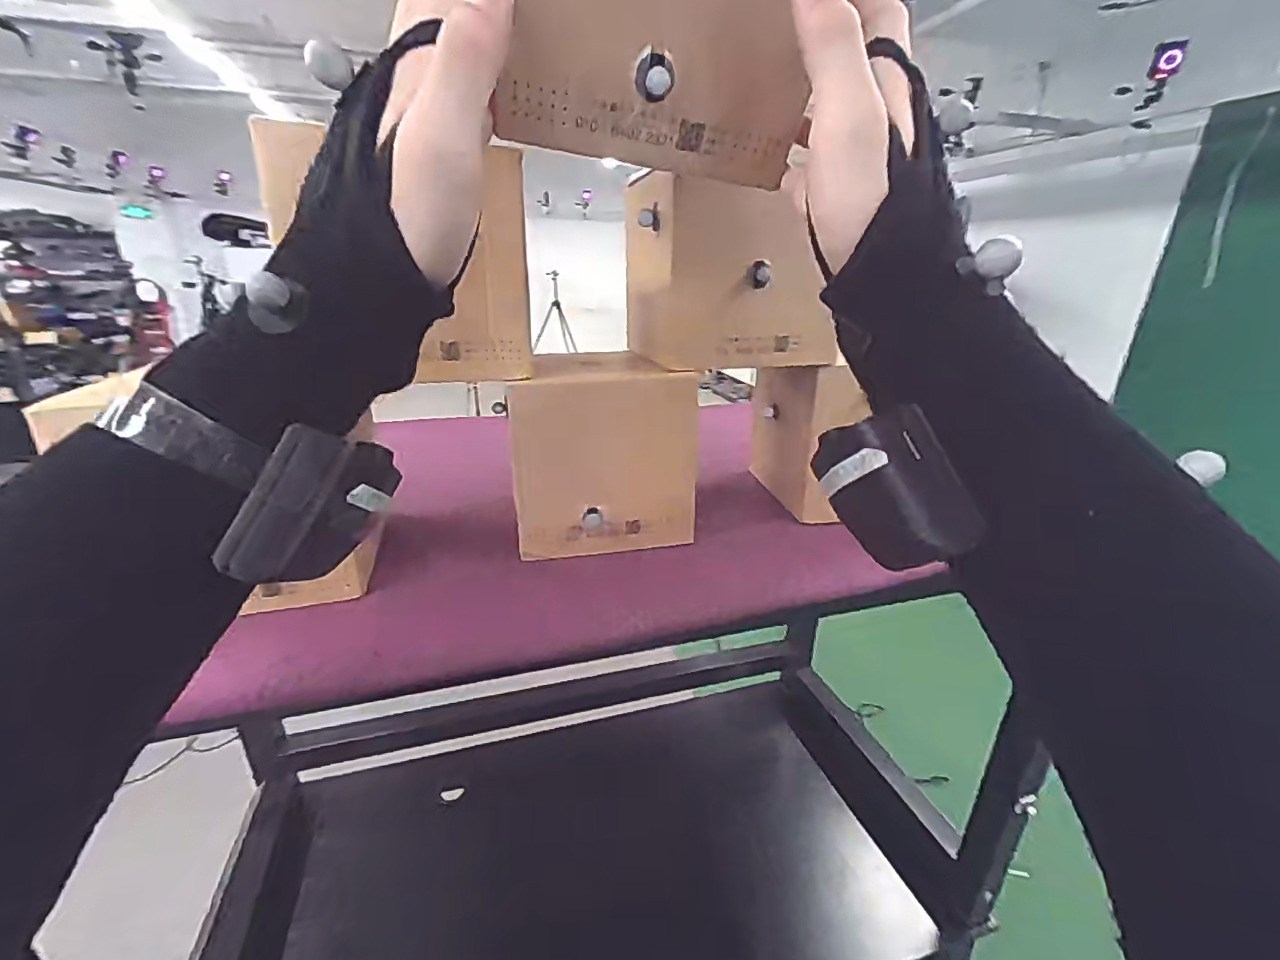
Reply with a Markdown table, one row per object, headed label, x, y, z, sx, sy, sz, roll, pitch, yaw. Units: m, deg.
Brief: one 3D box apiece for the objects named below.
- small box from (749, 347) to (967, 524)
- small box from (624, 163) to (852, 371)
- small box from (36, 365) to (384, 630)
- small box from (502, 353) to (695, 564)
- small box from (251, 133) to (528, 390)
| label | x | y | z | sx | sy | sz | roll | pitch | yaw |
| --- | --- | --- | --- | --- | --- | --- | --- | --- | --- |
| small box | 0.233 | -0.059 | 0.628 | 0.168 | 0.176 | 0.179 | -3 | 20 | -7 |
| small box | 0.082 | -0.202 | 0.537 | 0.168 | 0.176 | 0.179 | -4 | 21 | -13 |
| small box | -0.323 | -0.001 | 0.457 | 0.168 | 0.176 | 0.179 | -6 | 22 | -17 |
| small box | -0.051 | -0.032 | 0.555 | 0.168 | 0.176 | 0.179 | -6 | 22 | -13 |
| small box | -0.194 | -0.171 | 0.457 | 0.168 | 0.176 | 0.179 | -7 | 21 | -21 |
